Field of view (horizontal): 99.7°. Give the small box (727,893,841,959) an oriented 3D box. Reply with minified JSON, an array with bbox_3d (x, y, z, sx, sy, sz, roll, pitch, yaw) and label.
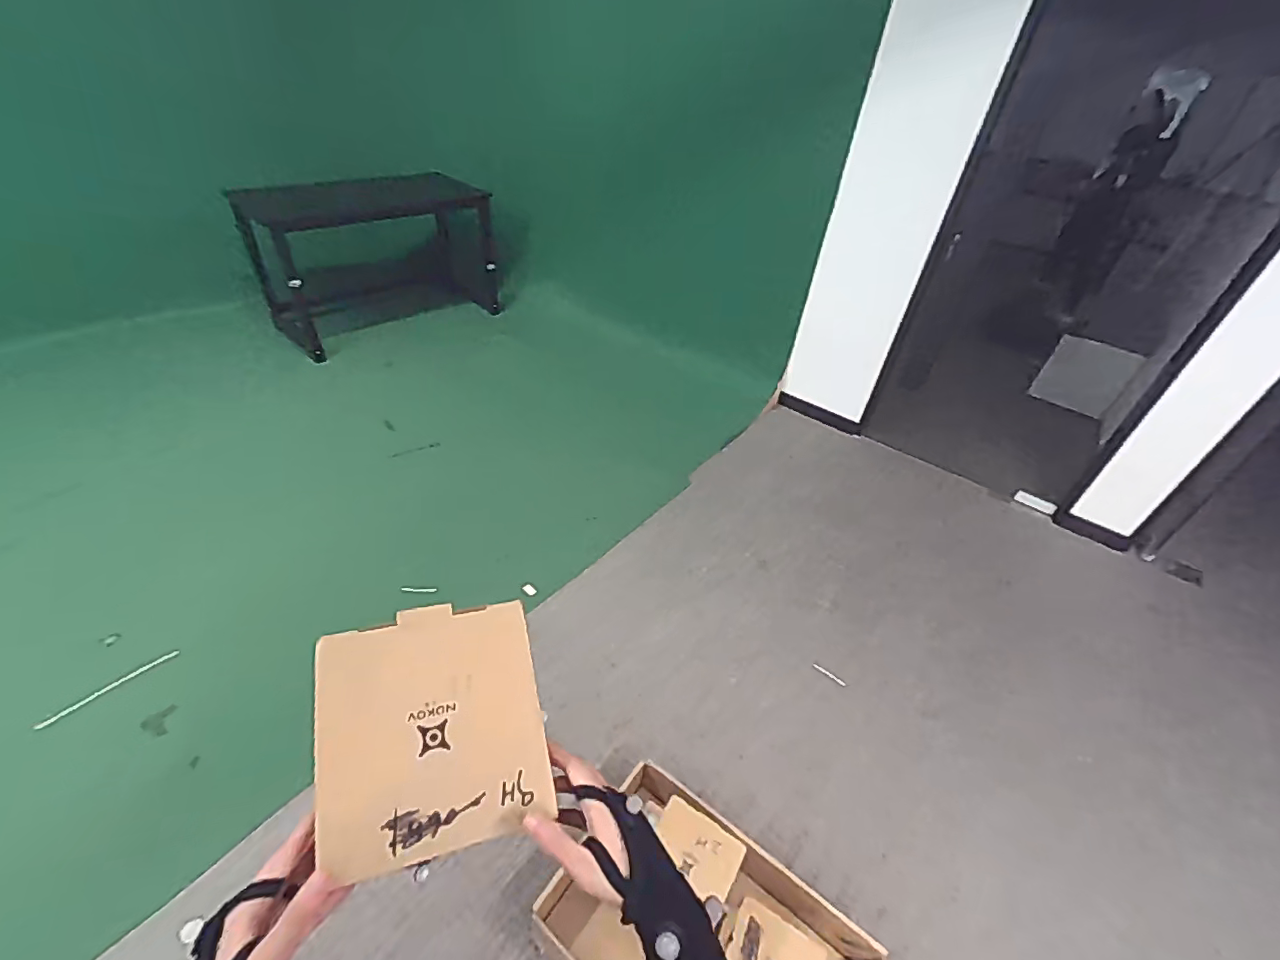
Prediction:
[{"bbox_3d":[0.267,0.975,1.067,0.179,0.176,0.168,23,44,21],"label":"small box"}]

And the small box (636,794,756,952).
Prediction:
[{"bbox_3d":[0.103,0.764,1.049,0.168,0.176,0.179,26,46,21],"label":"small box"}]

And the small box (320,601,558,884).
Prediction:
[{"bbox_3d":[-0.179,0.234,0.495,0.168,0.176,0.179,-8,61,-19],"label":"small box"}]

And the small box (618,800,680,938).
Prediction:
[{"bbox_3d":[0.064,0.857,1.187,0.179,0.176,0.168,27,46,22],"label":"small box"}]
